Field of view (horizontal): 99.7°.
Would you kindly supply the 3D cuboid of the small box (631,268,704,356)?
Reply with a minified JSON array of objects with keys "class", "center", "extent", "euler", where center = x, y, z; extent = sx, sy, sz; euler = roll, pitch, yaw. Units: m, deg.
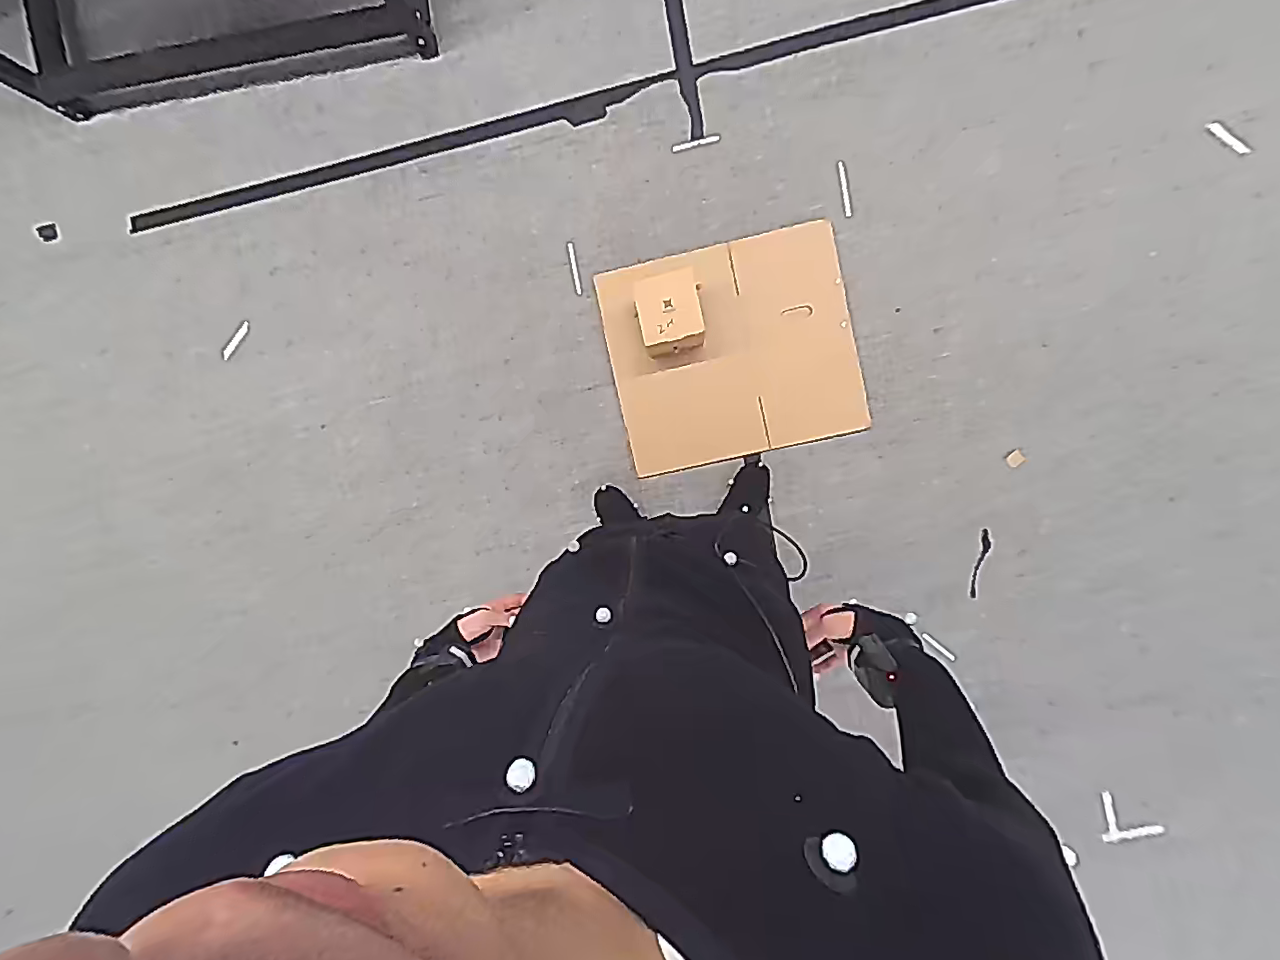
[{"class":"small box","center":[0.077,-0.455,1.491],"extent":[0.168,0.176,0.179],"euler":[-13,93,6]}]
